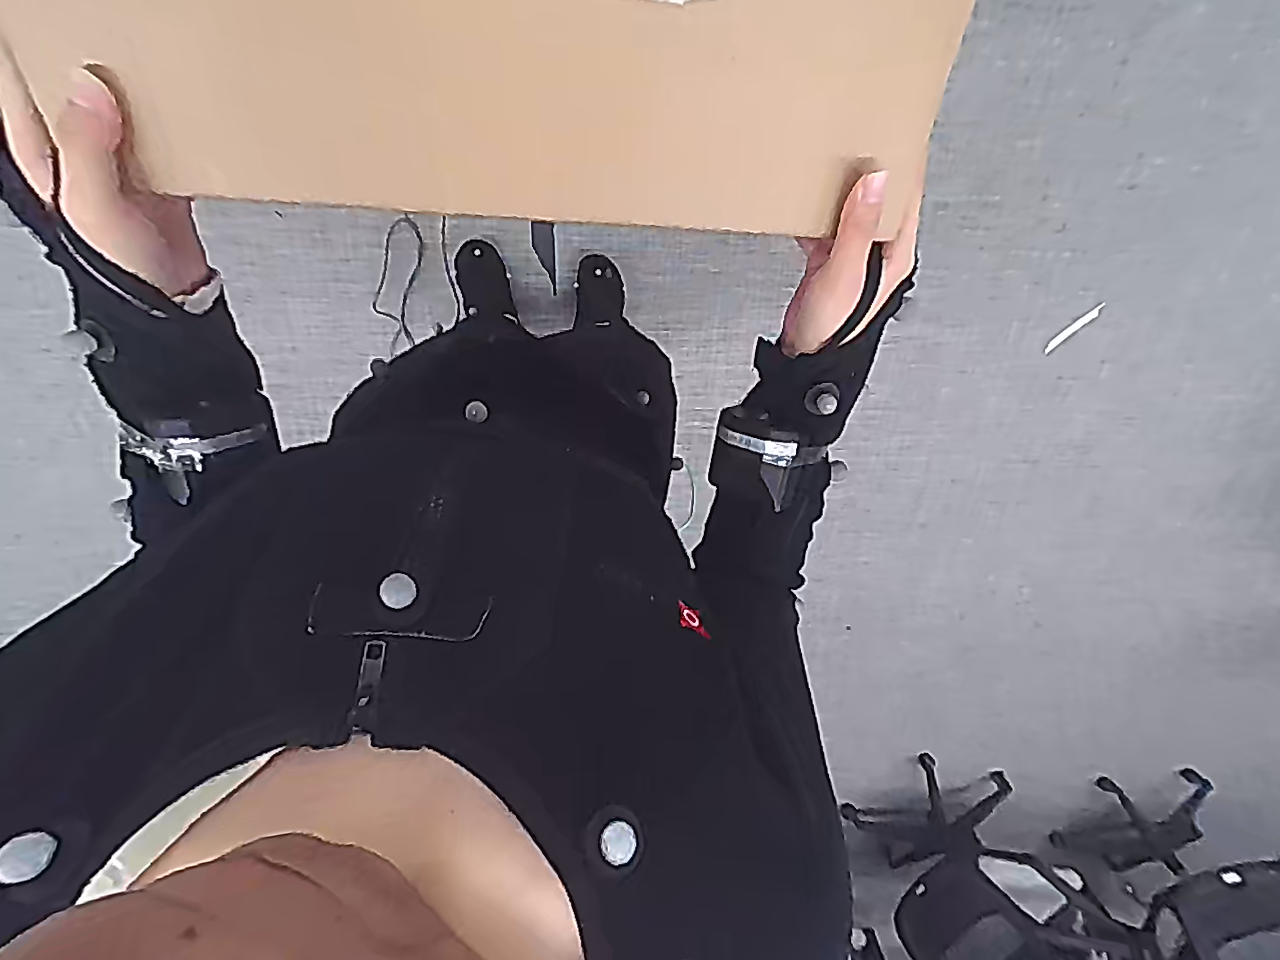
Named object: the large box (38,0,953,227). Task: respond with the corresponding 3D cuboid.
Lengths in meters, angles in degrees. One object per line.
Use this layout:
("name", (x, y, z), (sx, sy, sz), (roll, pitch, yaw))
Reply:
("large box", (-0.063, -0.350, 0.326), (0.408, 0.320, 0.320), (0, 124, -8))
